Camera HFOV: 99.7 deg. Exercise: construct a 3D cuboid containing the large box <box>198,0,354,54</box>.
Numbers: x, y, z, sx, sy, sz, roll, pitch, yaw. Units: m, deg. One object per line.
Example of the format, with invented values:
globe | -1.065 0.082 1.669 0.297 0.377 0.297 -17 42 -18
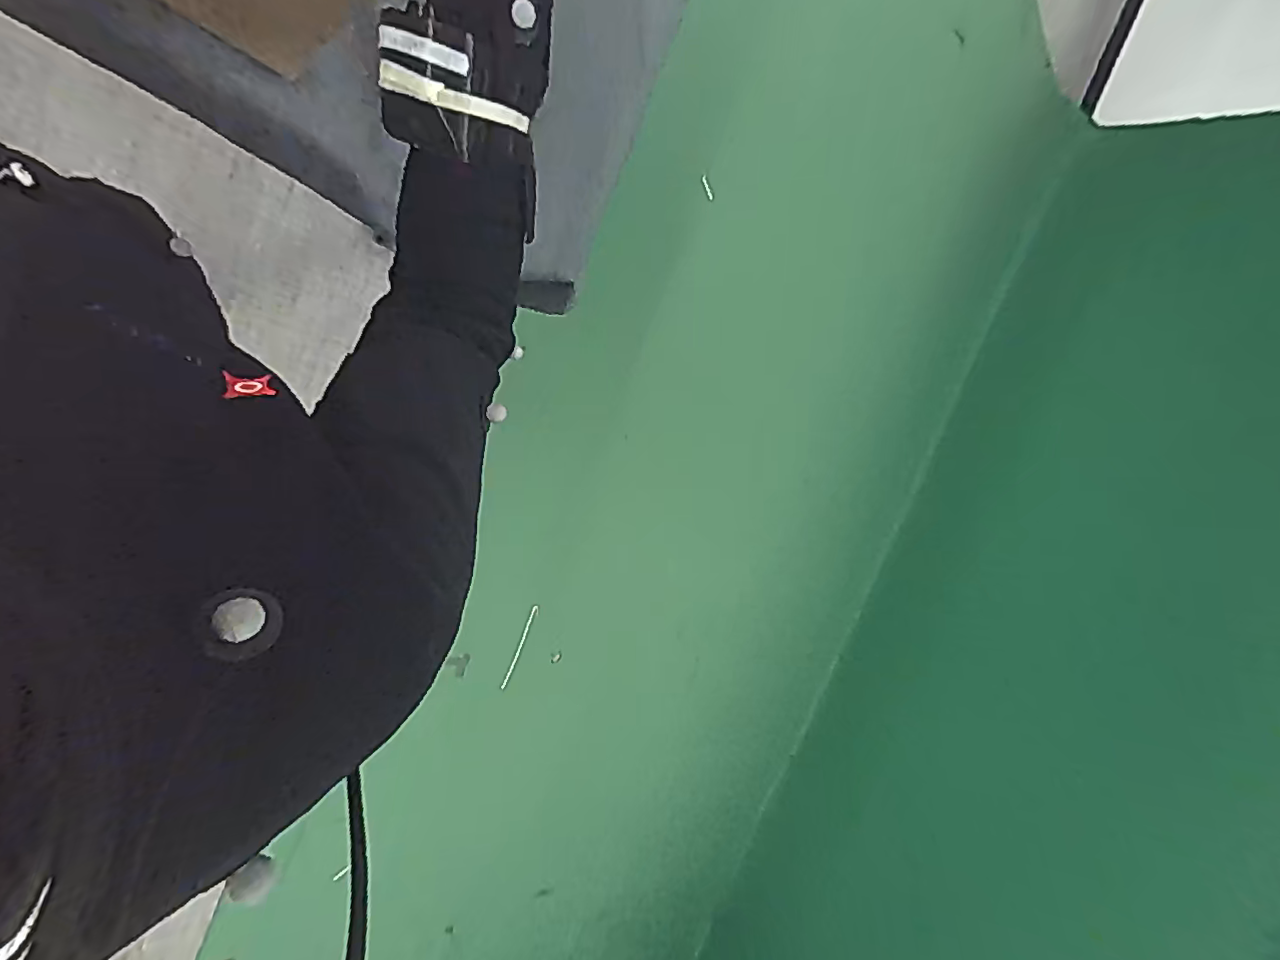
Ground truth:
large box | -0.296 -0.498 0.221 0.408 0.320 0.320 12 100 -47
